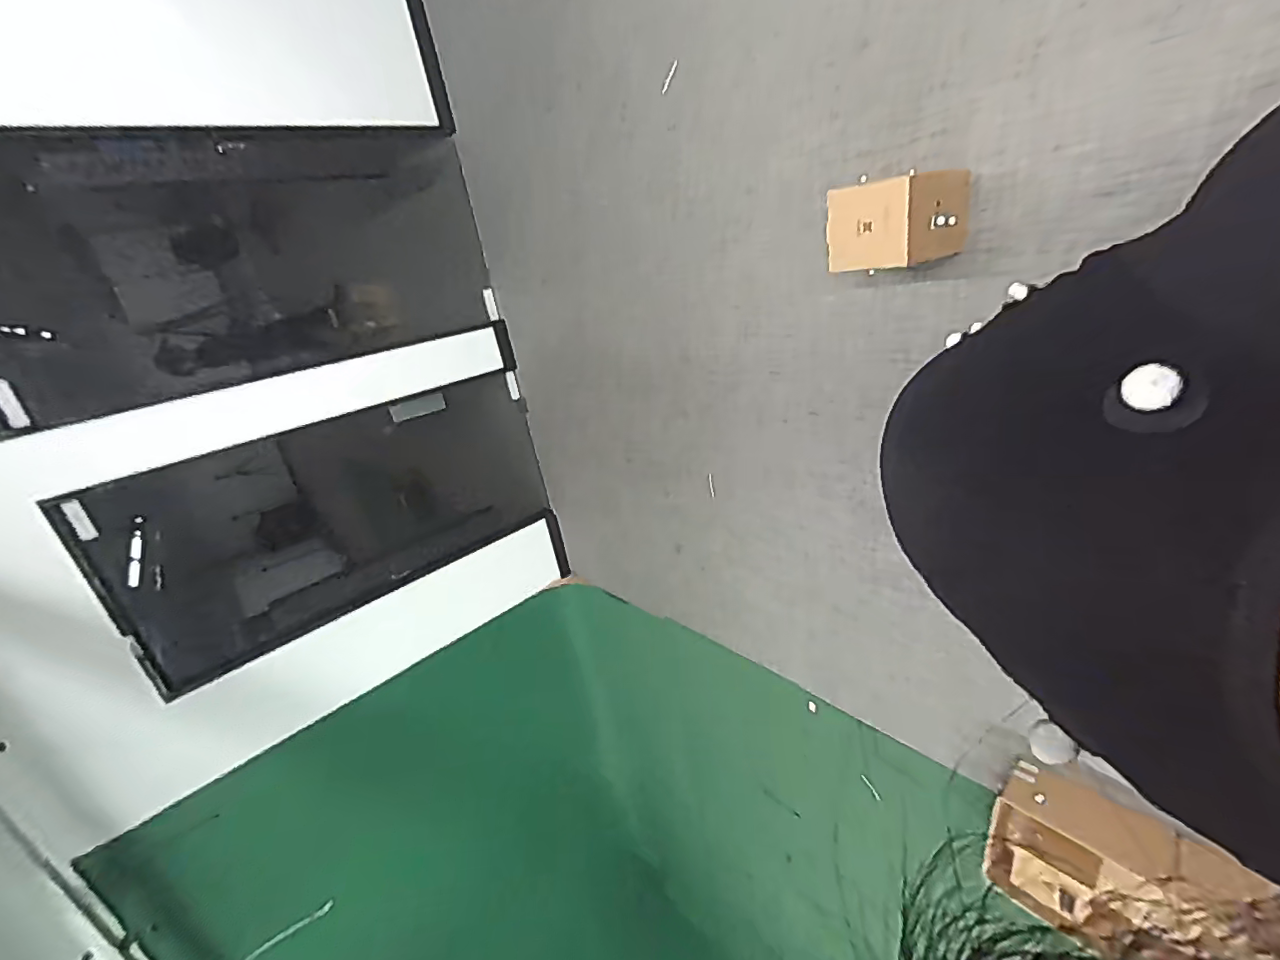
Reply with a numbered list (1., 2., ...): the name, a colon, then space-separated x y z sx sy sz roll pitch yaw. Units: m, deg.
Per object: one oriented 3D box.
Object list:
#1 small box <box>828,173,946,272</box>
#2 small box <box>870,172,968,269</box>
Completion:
1. small box: 0.528 -0.552 1.164 0.179 0.176 0.168 16 124 47
2. small box: 0.644 -0.606 1.265 0.168 0.176 0.179 17 124 47
